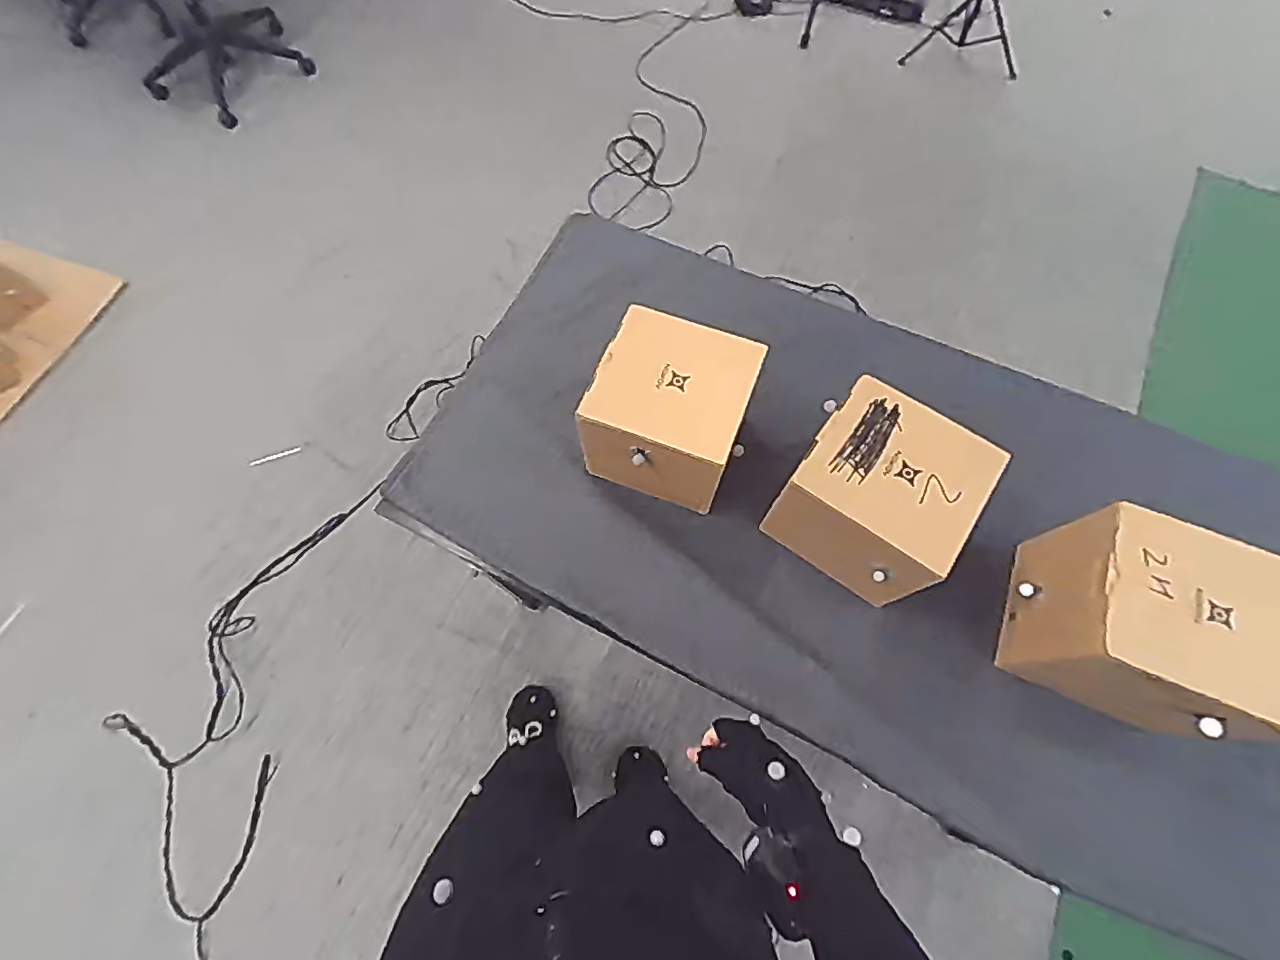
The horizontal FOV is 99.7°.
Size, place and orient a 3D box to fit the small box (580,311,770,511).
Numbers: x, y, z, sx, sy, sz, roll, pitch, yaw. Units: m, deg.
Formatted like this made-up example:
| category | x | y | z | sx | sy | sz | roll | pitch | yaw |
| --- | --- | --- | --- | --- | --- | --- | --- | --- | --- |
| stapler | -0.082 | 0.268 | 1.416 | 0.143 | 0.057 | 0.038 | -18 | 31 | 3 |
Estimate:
| category | x | y | z | sx | sy | sz | roll | pitch | yaw |
| --- | --- | --- | --- | --- | --- | --- | --- | --- | --- |
| small box | 0.043 | -0.076 | 0.687 | 0.179 | 0.176 | 0.168 | 20 | 69 | 9 |

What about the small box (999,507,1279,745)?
| category | x | y | z | sx | sy | sz | roll | pitch | yaw |
| --- | --- | --- | --- | --- | --- | --- | --- | --- | --- |
| small box | 0.532 | 0.156 | 0.575 | 0.179 | 0.176 | 0.168 | 23 | 69 | 10 |
